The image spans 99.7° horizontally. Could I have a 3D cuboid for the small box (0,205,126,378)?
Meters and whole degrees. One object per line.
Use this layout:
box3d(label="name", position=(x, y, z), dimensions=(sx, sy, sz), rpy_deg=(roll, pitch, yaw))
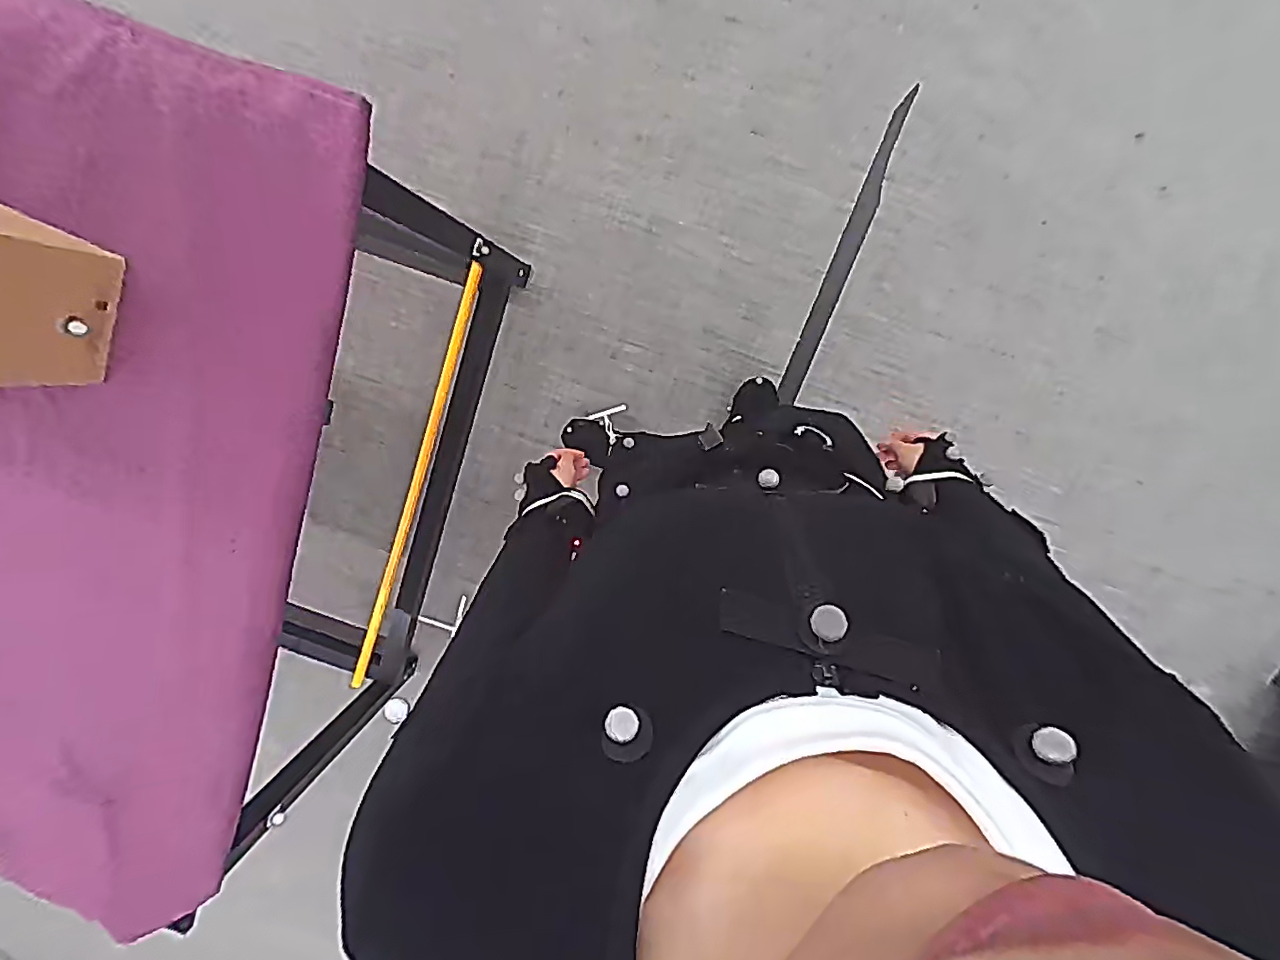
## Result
box3d(label="small box", position=(-0.738, -0.215, 0.593), dimensions=(0.179, 0.176, 0.168), rpy_deg=(23, 102, 0))

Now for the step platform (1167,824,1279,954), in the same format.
box3d(label="step platform", position=(1.630, 0.800, 1.288), dimensions=(0.286, 0.204, 0.684), rpy_deg=(20, 101, 1))
